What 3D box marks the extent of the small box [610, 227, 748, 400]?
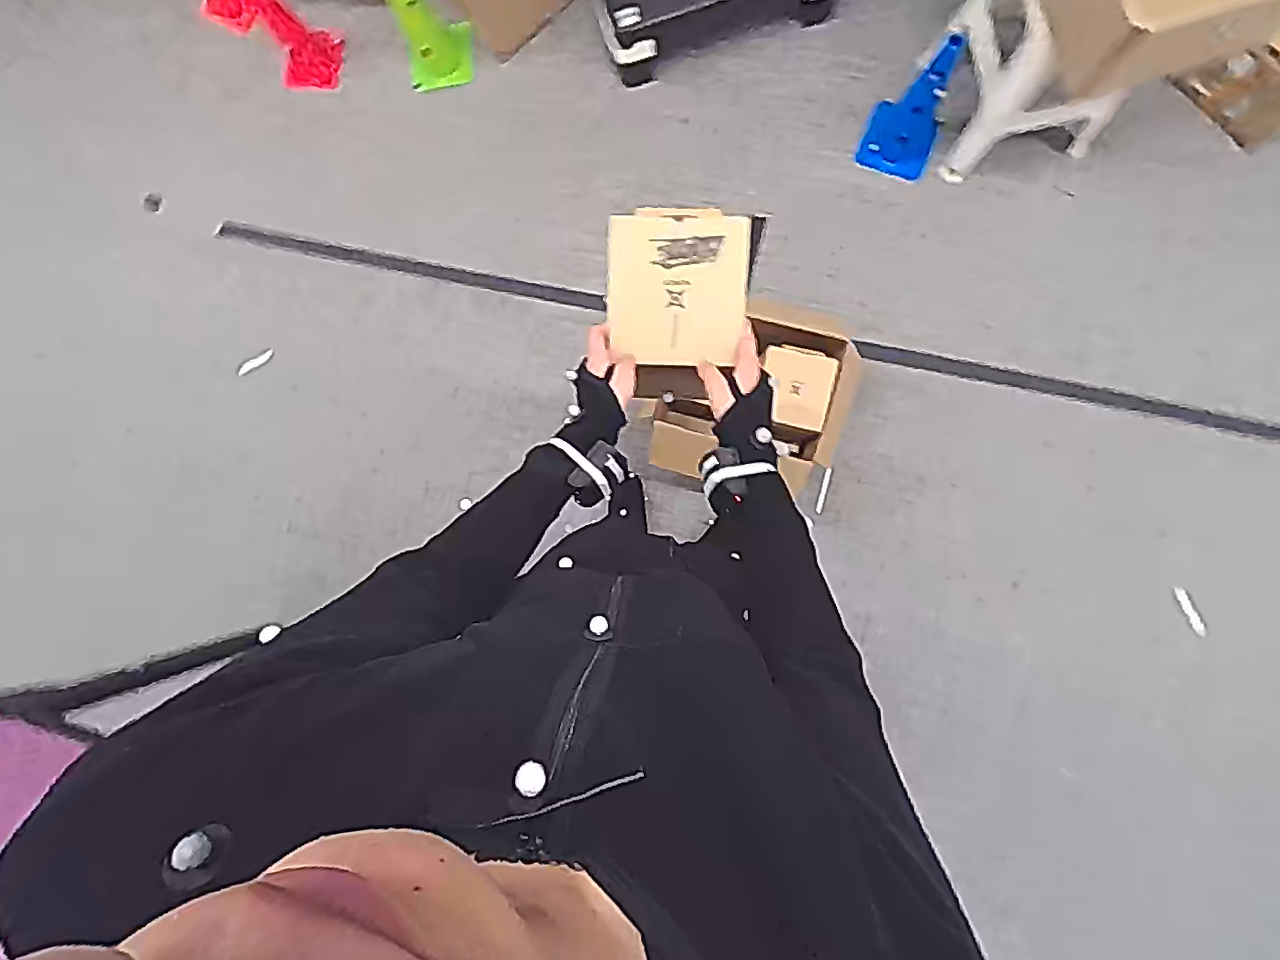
[{"bbox_3d":[0.050,-0.219,0.746,0.168,0.176,0.179,2,85,2],"label":"small box"}]
